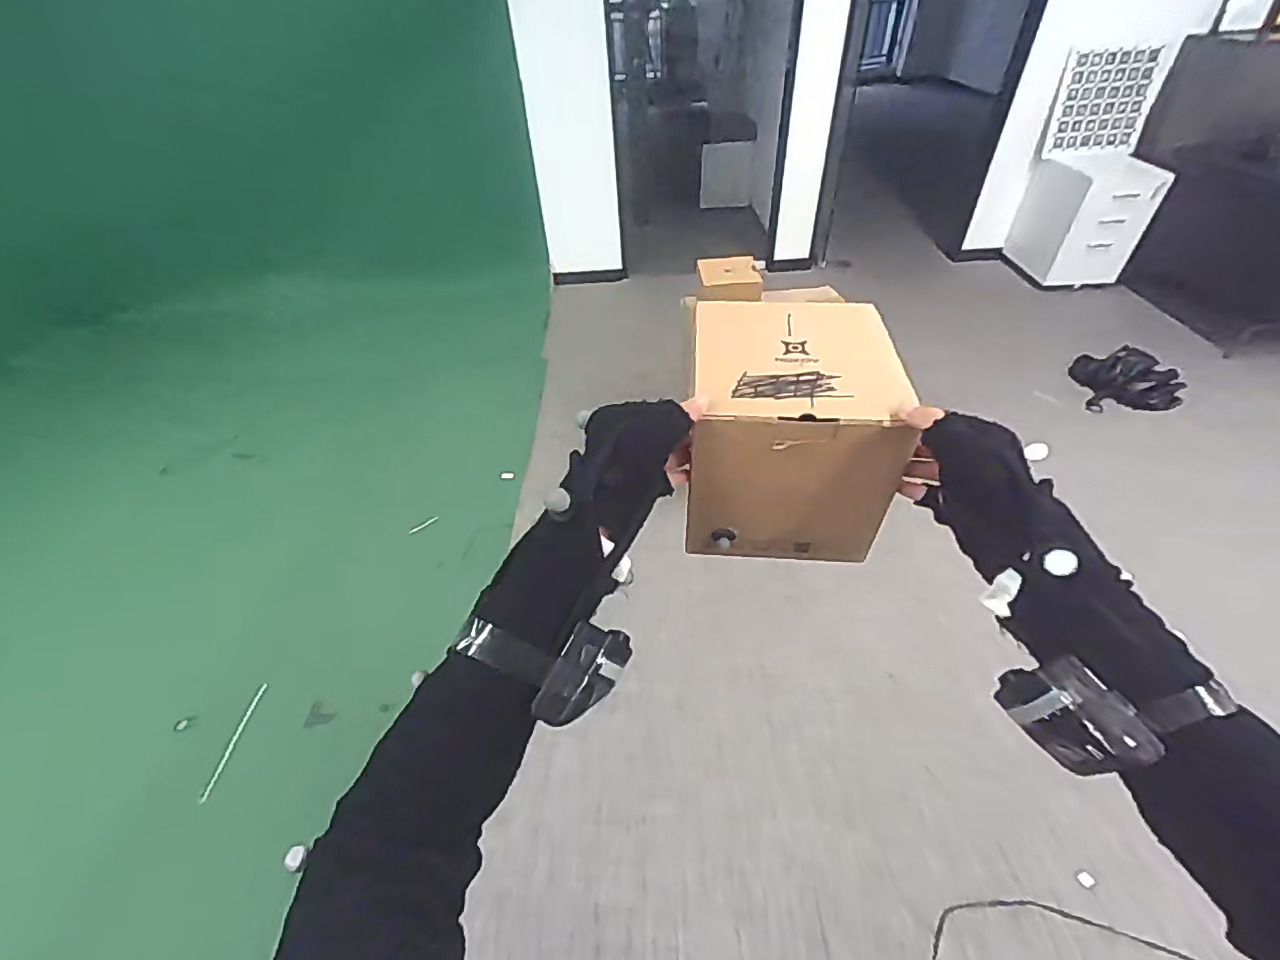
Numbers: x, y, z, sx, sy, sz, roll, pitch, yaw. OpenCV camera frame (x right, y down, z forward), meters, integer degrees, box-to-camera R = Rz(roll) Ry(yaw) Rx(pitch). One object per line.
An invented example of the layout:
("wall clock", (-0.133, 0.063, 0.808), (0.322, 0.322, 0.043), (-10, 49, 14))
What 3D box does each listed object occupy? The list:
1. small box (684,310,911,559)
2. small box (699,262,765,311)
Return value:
("small box", (0.128, -0.043, 0.509), (0.168, 0.176, 0.179), (2, 44, 5))
("small box", (0.281, -0.560, 1.697), (0.179, 0.176, 0.168), (-6, 47, 1))
